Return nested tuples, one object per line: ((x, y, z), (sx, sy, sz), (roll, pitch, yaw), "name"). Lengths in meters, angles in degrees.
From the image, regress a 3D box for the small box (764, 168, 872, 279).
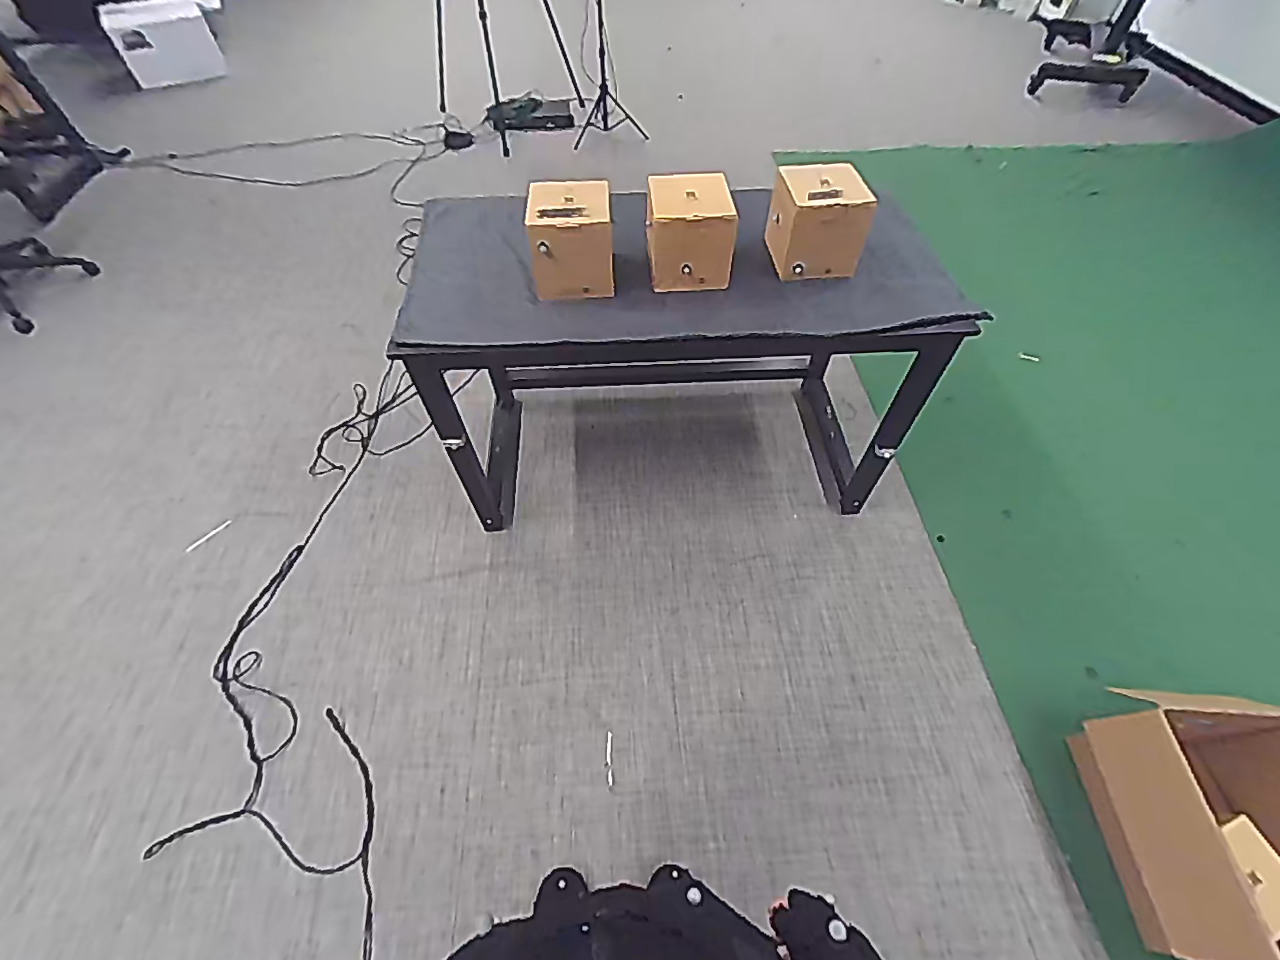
((0.383, -0.561, 1.197), (0.168, 0.176, 0.179), (-4, 53, -2), "small box")

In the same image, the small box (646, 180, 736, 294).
((0.103, -0.528, 1.179), (0.168, 0.176, 0.179), (-4, 55, -3), "small box")
